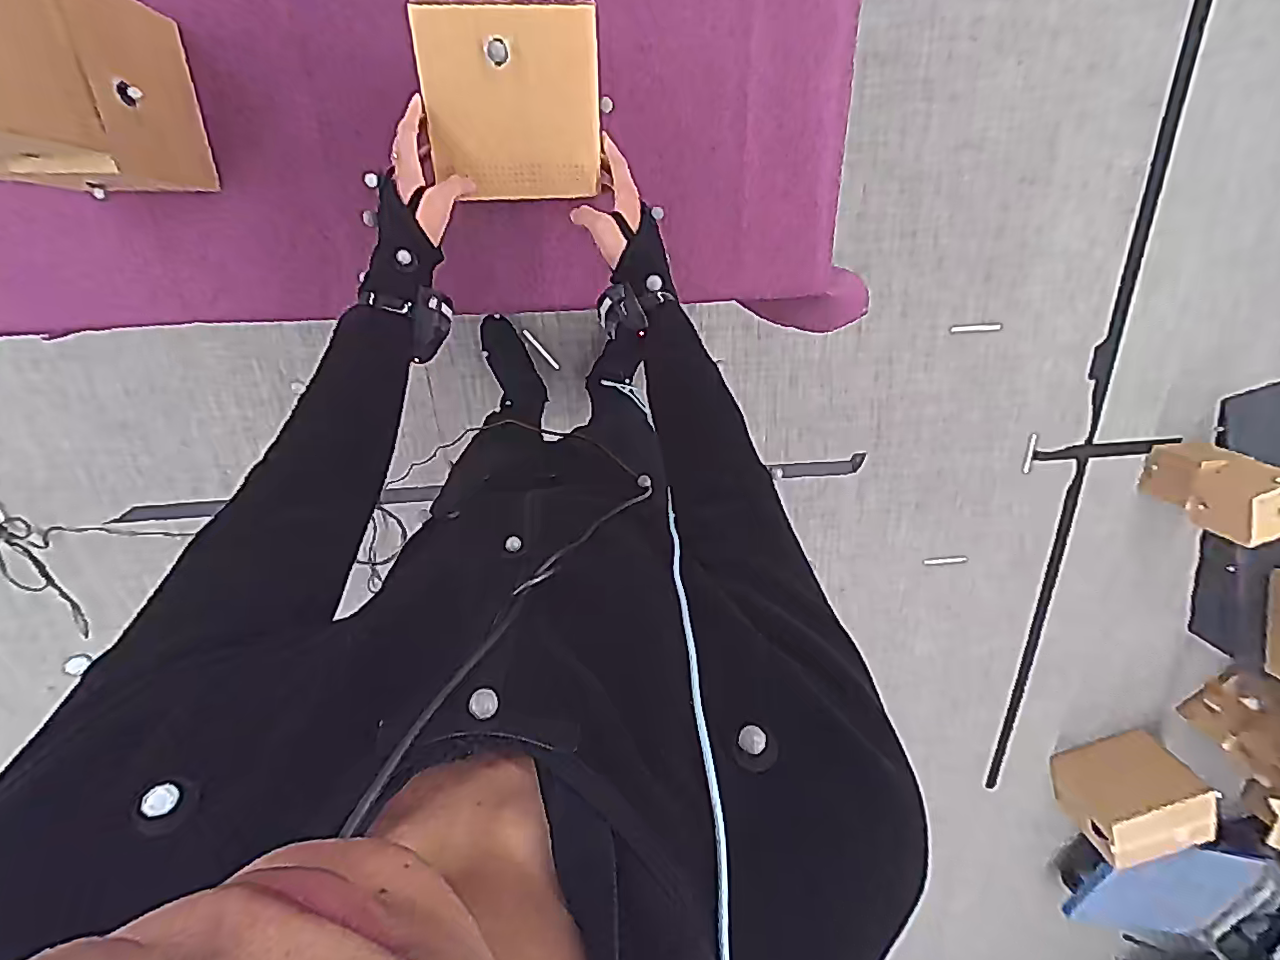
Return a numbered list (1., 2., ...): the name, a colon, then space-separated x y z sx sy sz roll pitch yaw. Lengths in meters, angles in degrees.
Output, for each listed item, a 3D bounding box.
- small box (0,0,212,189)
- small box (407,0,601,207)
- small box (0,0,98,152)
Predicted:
1. small box: -0.604 -0.413 0.570 0.168 0.176 0.179 -2 113 -6
2. small box: -0.133 -0.409 0.608 0.179 0.168 0.176 -4 119 -4
3. small box: -0.593 -0.360 0.414 0.168 0.176 0.179 -6 113 -4
